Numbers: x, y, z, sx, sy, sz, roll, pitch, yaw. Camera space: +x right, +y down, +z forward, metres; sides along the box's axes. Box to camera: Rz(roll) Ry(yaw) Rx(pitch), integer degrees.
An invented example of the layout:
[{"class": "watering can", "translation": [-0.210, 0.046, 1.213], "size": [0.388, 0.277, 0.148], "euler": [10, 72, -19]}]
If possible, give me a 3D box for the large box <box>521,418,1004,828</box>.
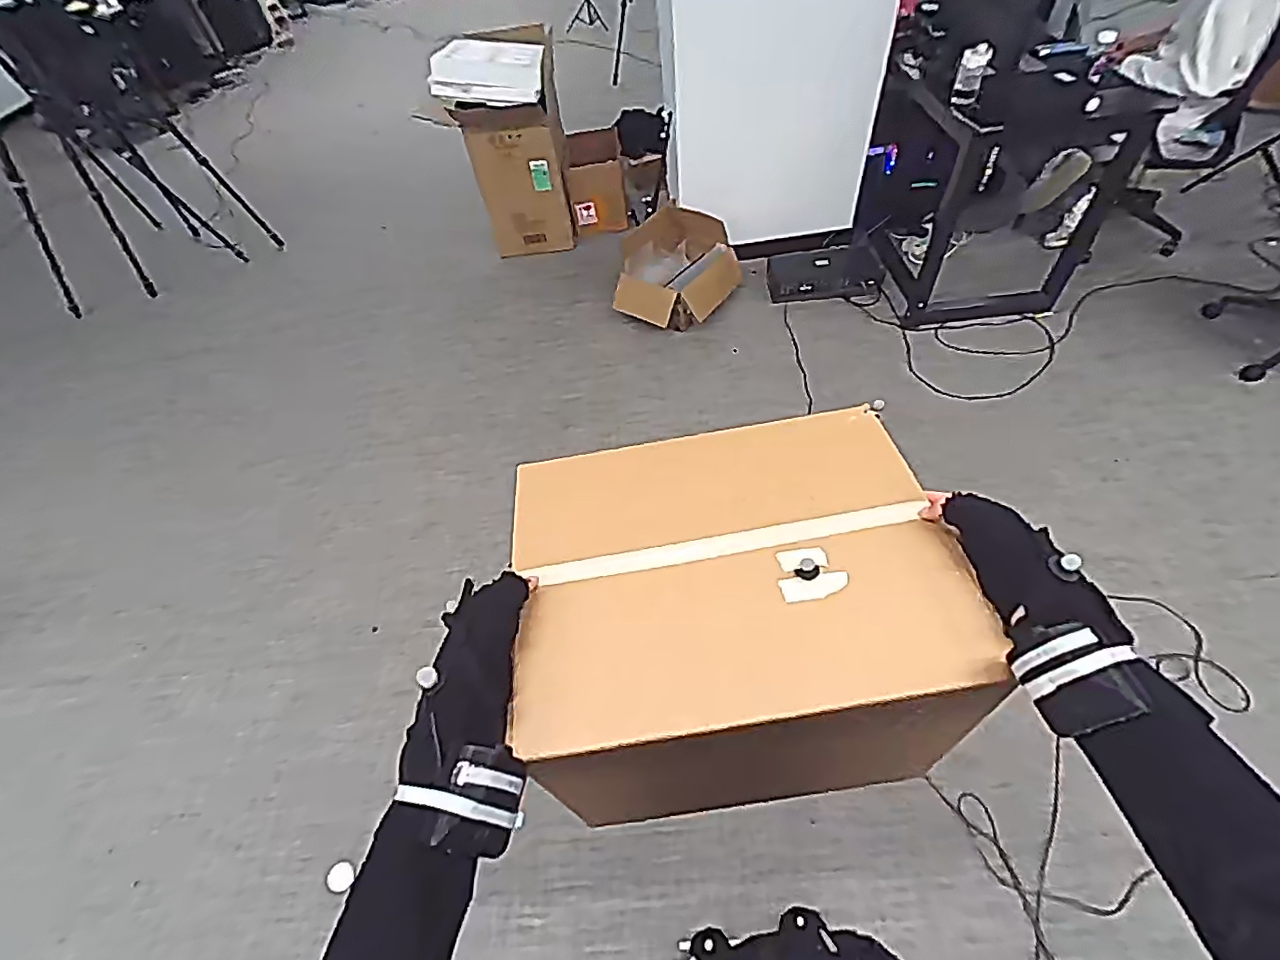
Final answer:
[{"class": "large box", "translation": [0.096, 0.173, 0.638], "size": [0.408, 0.320, 0.320], "euler": [-10, 48, 1]}]
